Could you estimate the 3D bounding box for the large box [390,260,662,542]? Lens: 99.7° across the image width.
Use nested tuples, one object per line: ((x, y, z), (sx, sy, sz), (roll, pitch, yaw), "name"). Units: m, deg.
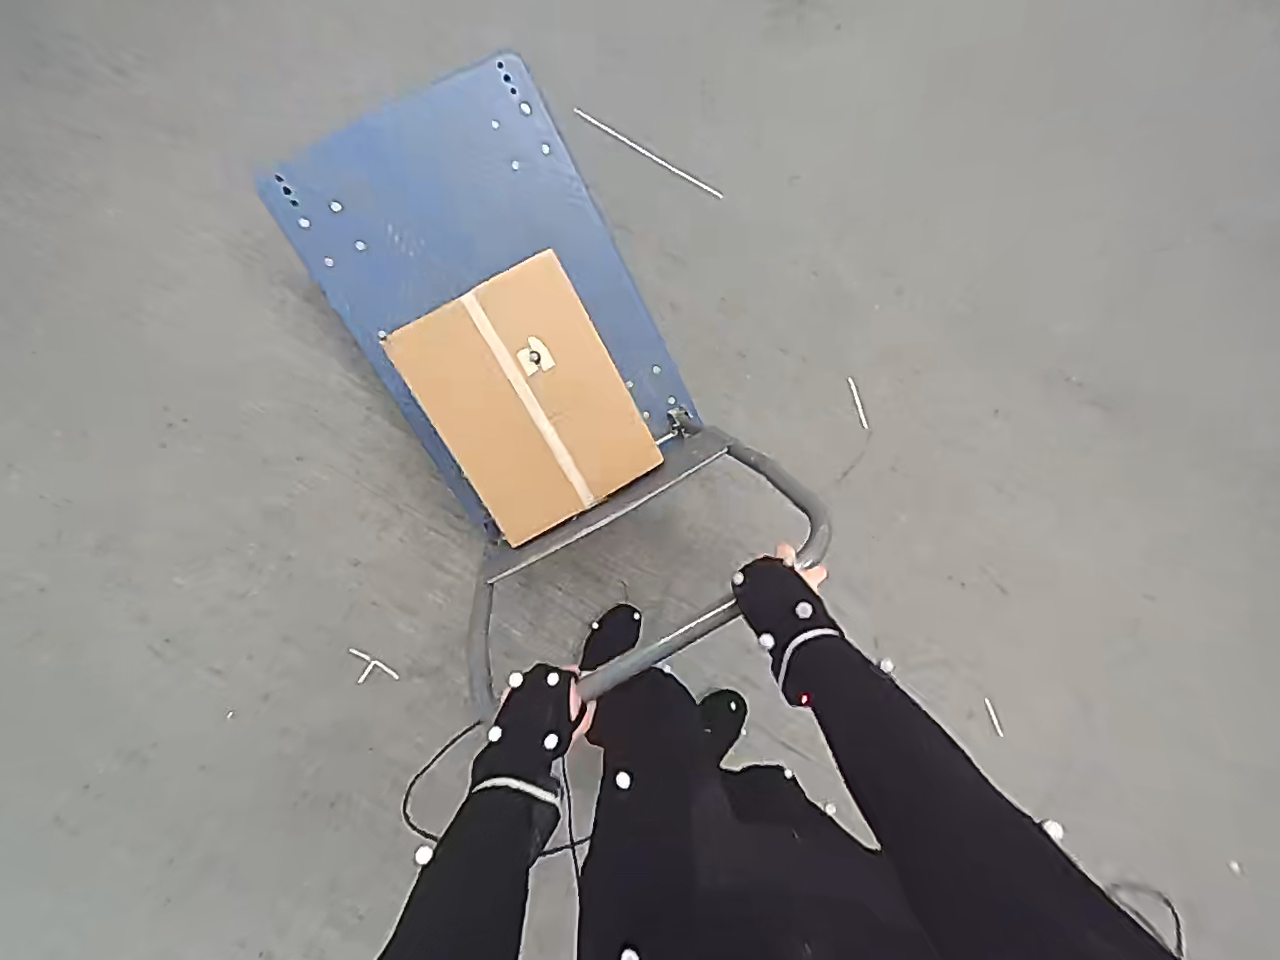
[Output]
((-0.207, -0.153, 1.082), (0.320, 0.320, 0.408), (-31, 104, -4), "large box")
